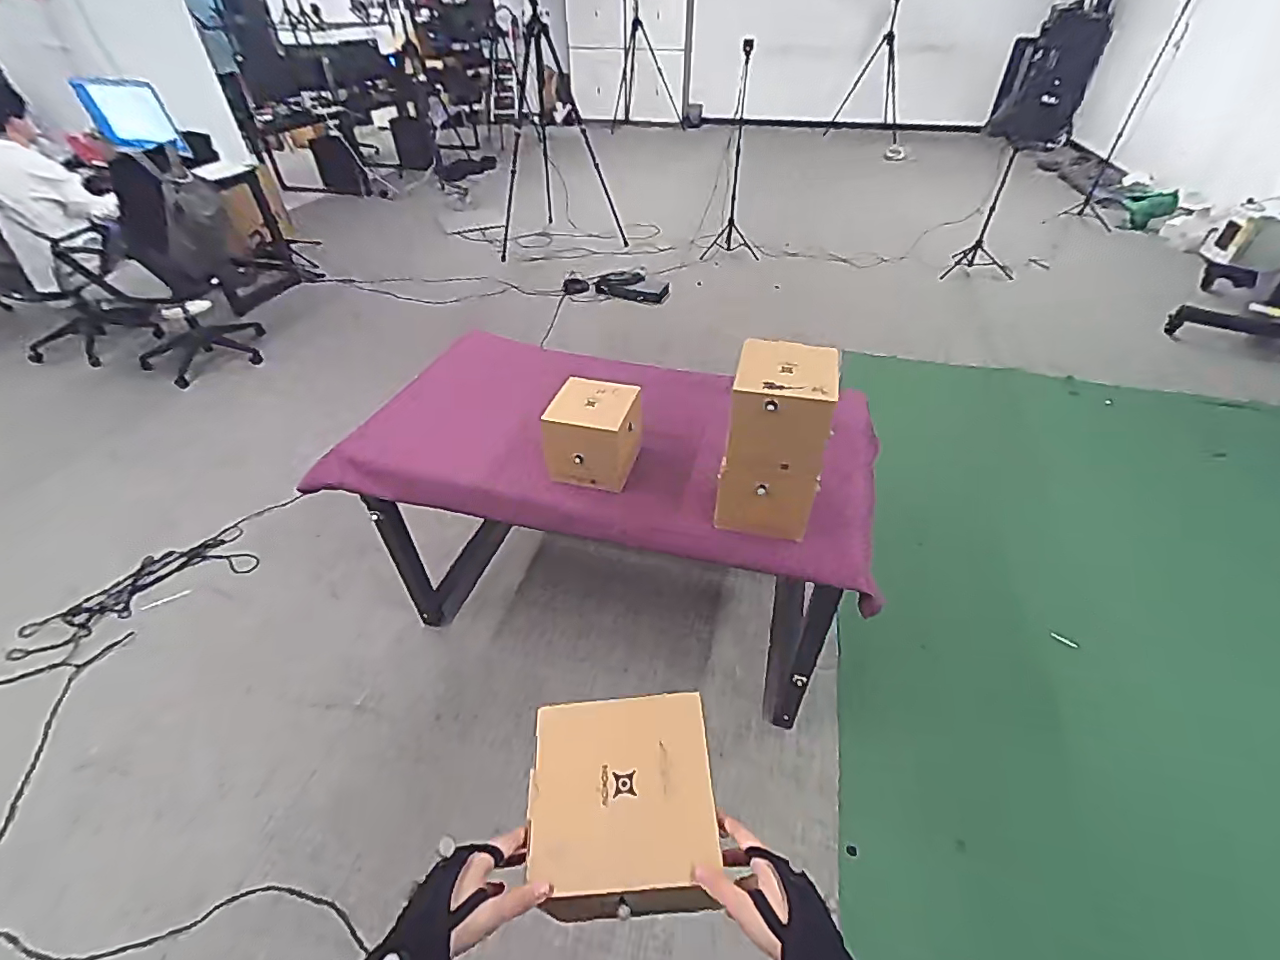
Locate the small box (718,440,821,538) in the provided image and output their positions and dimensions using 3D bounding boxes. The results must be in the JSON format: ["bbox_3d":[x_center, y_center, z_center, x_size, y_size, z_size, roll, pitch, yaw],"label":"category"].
[{"bbox_3d":[0.256,-0.005,1.074,0.179,0.176,0.168,7,43,13],"label":"small box"}]

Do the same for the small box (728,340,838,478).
[{"bbox_3d":[0.252,-0.128,0.966,0.168,0.176,0.179,8,43,14],"label":"small box"}]

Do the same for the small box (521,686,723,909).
[{"bbox_3d":[-0.011,0.341,0.577,0.179,0.176,0.168,-7,46,3],"label":"small box"}]

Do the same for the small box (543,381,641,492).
[{"bbox_3d":[-0.095,-0.096,1.189,0.168,0.176,0.179,10,42,13],"label":"small box"}]
